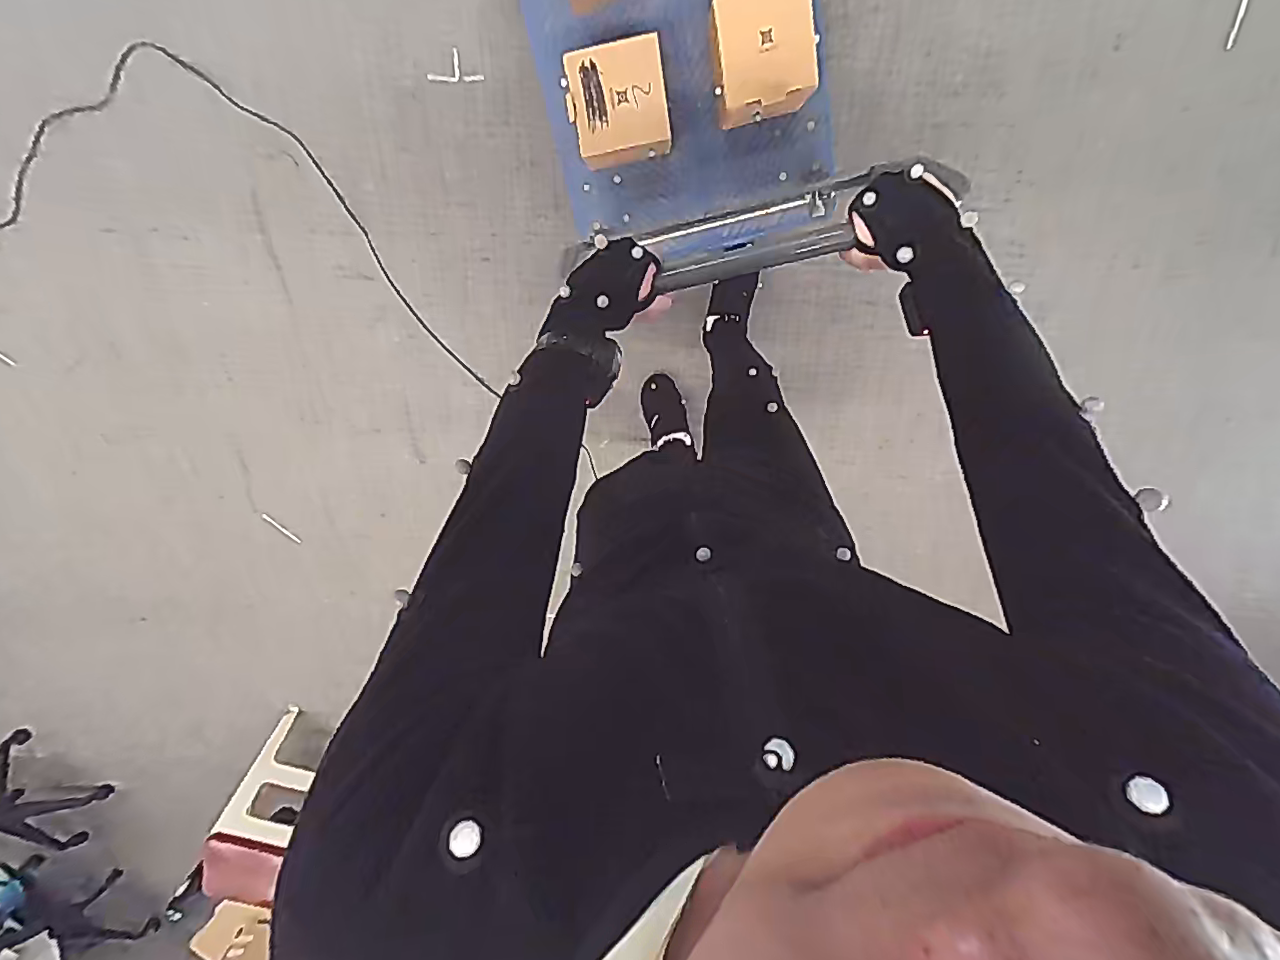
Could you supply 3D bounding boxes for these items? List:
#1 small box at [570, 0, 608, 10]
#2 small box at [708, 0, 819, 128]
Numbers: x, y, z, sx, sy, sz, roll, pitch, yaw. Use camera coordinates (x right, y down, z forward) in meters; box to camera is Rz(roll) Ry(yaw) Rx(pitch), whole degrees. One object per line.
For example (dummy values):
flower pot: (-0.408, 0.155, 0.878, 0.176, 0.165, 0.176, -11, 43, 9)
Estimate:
small box: (-0.081, -0.985, 0.960, 0.168, 0.176, 0.179, -19, 110, 9)
small box: (0.227, -0.803, 1.024, 0.168, 0.176, 0.179, -11, 112, 7)
